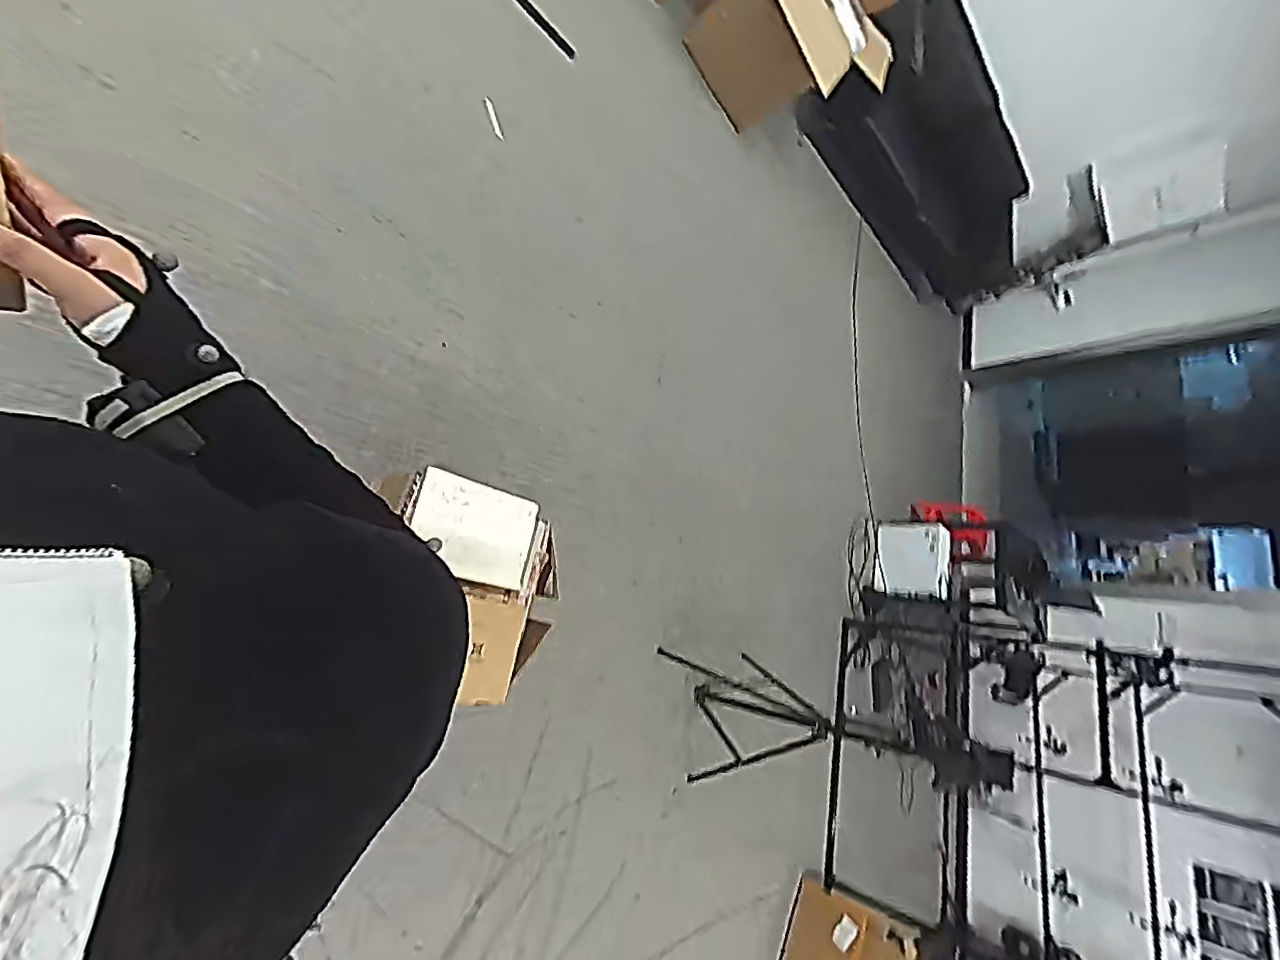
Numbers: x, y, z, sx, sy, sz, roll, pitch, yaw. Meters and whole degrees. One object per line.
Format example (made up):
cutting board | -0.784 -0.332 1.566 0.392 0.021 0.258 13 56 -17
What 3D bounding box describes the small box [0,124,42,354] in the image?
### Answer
small box | -0.529 -0.179 0.351 0.168 0.176 0.179 -13 105 -47
